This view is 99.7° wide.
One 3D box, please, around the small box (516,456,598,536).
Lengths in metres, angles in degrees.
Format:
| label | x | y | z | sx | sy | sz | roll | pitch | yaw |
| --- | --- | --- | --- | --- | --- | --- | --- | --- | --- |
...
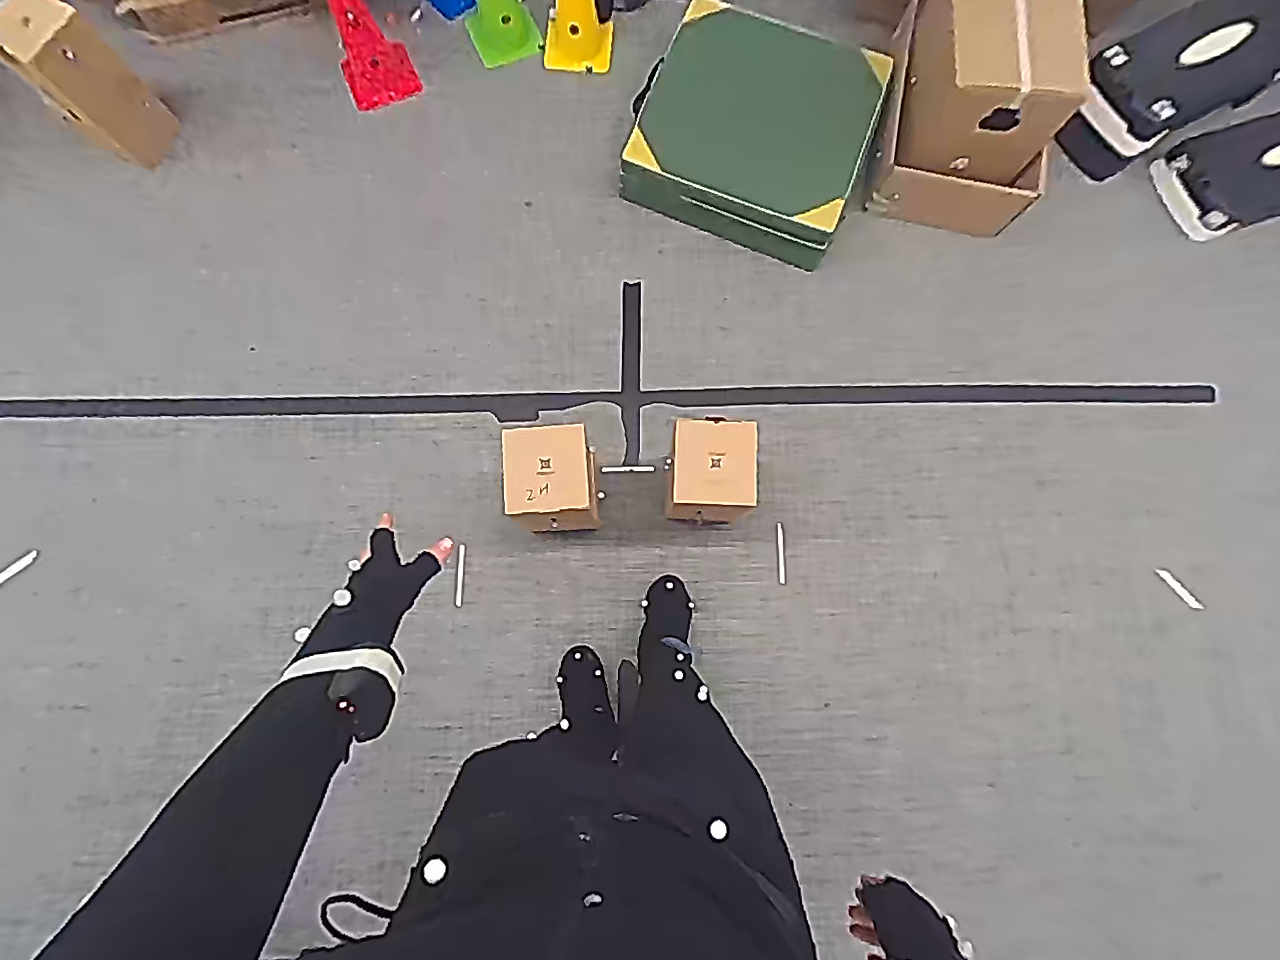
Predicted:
| label | x | y | z | sx | sy | sz | roll | pitch | yaw |
| --- | --- | --- | --- | --- | --- | --- | --- | --- | --- |
| small box | -0.195 | 0.043 | 1.306 | 0.179 | 0.176 | 0.168 | -2 | 78 | -3 |

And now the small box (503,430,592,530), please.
| label | x | y | z | sx | sy | sz | roll | pitch | yaw |
| --- | --- | --- | --- | --- | --- | --- | --- | --- | --- |
| small box | -0.191 | 0.004 | 1.146 | 0.168 | 0.176 | 0.179 | -4 | 78 | -2 |

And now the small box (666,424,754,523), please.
| label | x | y | z | sx | sy | sz | roll | pitch | yaw |
| --- | --- | --- | --- | --- | --- | --- | --- | --- | --- |
| small box | 0.144 | -0.008 | 1.161 | 0.168 | 0.176 | 0.179 | 3 | 79 | 0 |

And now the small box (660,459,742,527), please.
| label | x | y | z | sx | sy | sz | roll | pitch | yaw |
| --- | --- | --- | --- | --- | --- | --- | --- | --- | --- |
| small box | 0.148 | 0.022 | 1.322 | 0.179 | 0.176 | 0.168 | 4 | 77 | -2 |
